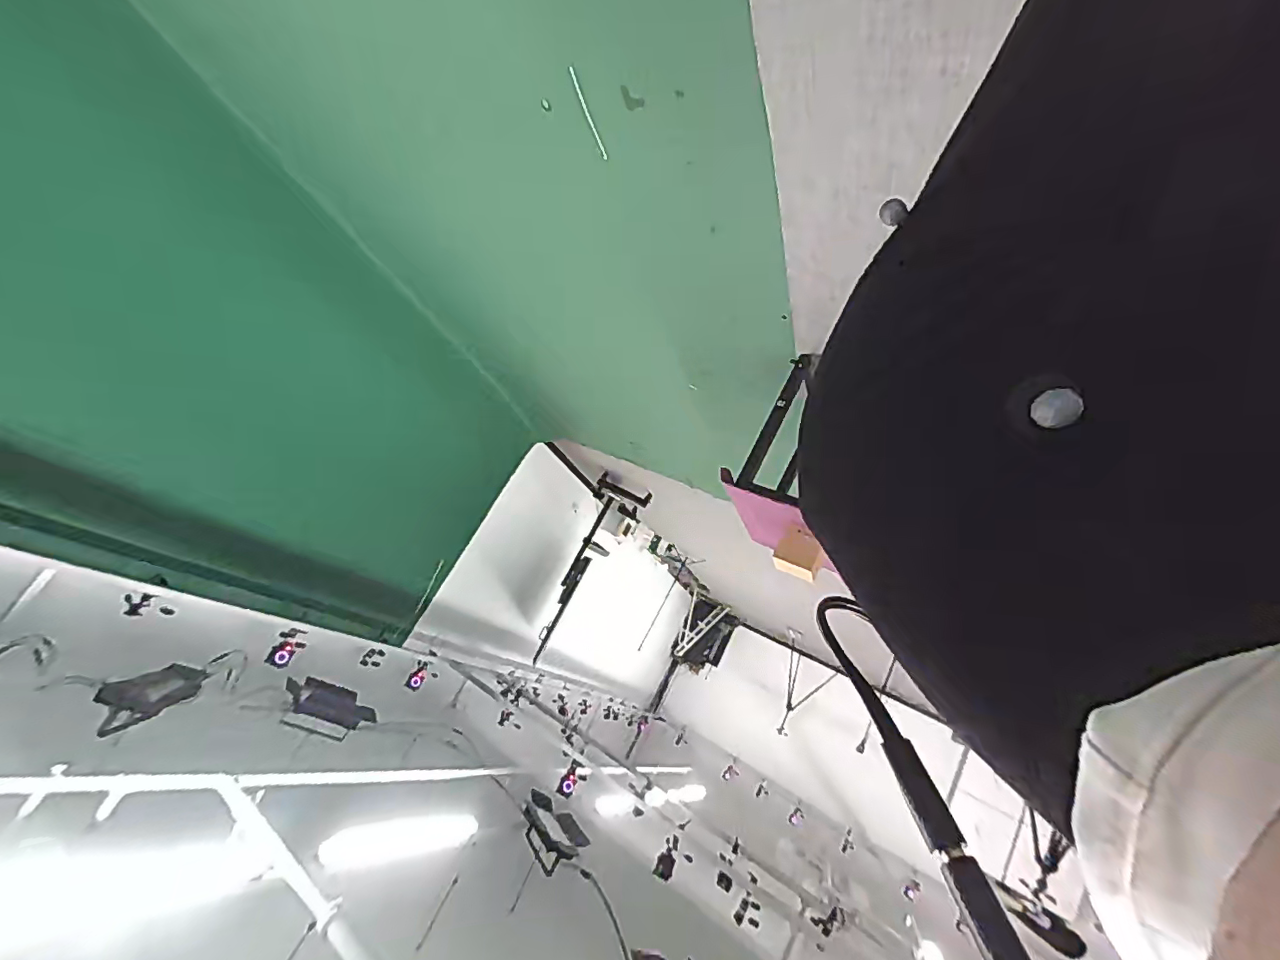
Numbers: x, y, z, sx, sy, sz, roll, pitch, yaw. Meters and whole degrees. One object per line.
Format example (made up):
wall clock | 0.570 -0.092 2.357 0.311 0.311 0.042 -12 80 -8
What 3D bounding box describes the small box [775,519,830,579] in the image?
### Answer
small box | 0.673 0.282 2.225 0.168 0.176 0.179 20 164 27
